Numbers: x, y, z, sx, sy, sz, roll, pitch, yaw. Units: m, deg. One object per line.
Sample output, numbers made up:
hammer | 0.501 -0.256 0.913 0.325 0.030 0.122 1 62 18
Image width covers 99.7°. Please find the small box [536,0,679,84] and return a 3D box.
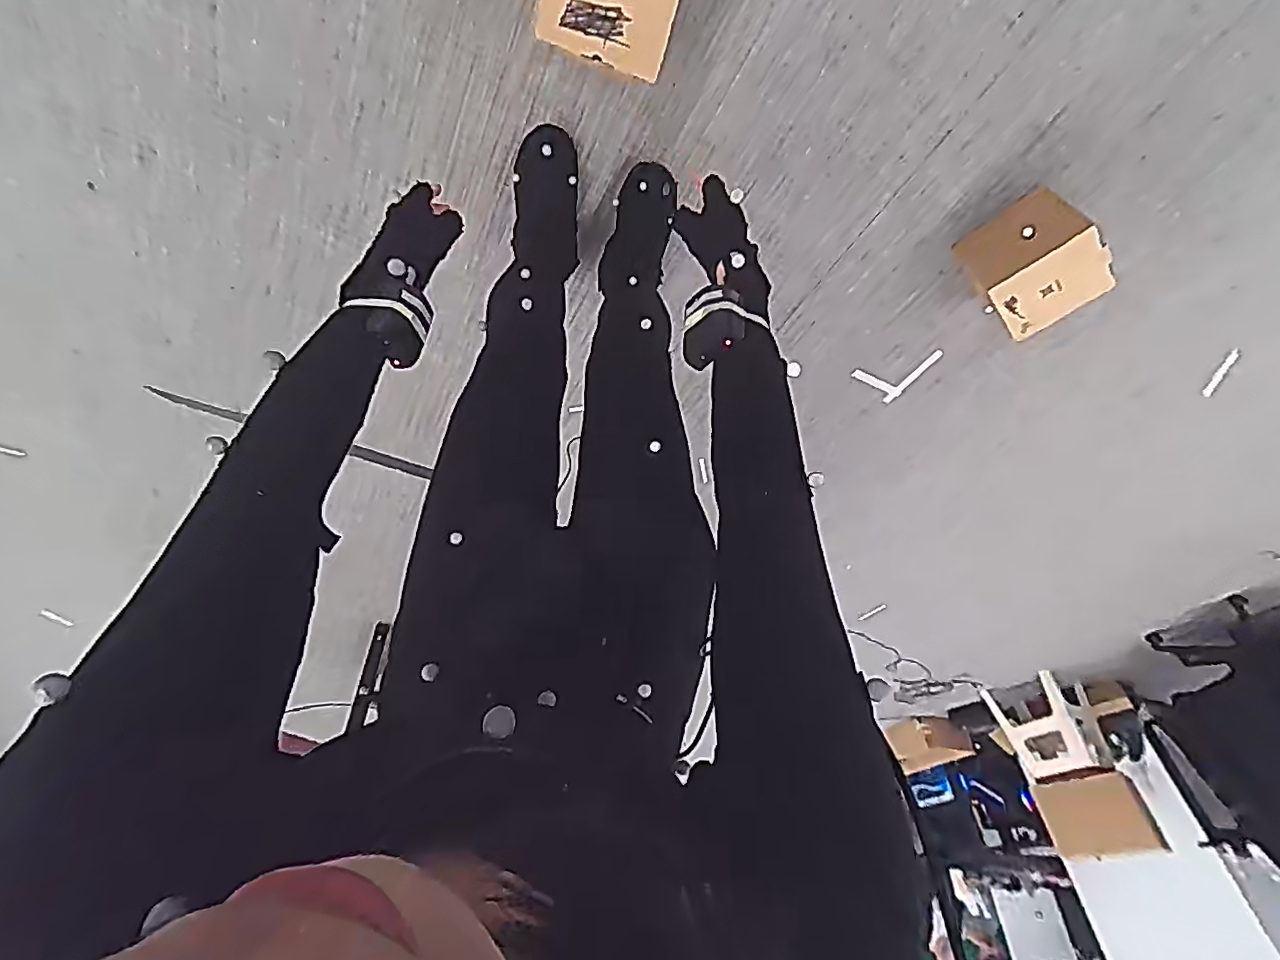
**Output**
small box | -0.032 -0.666 0.706 0.168 0.176 0.179 11 136 -15

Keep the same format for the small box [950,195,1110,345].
small box | 0.744 -0.407 1.044 0.179 0.176 0.168 -35 130 30

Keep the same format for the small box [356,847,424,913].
small box | -0.864 1.390 1.876 0.168 0.176 0.179 18 134 -24
